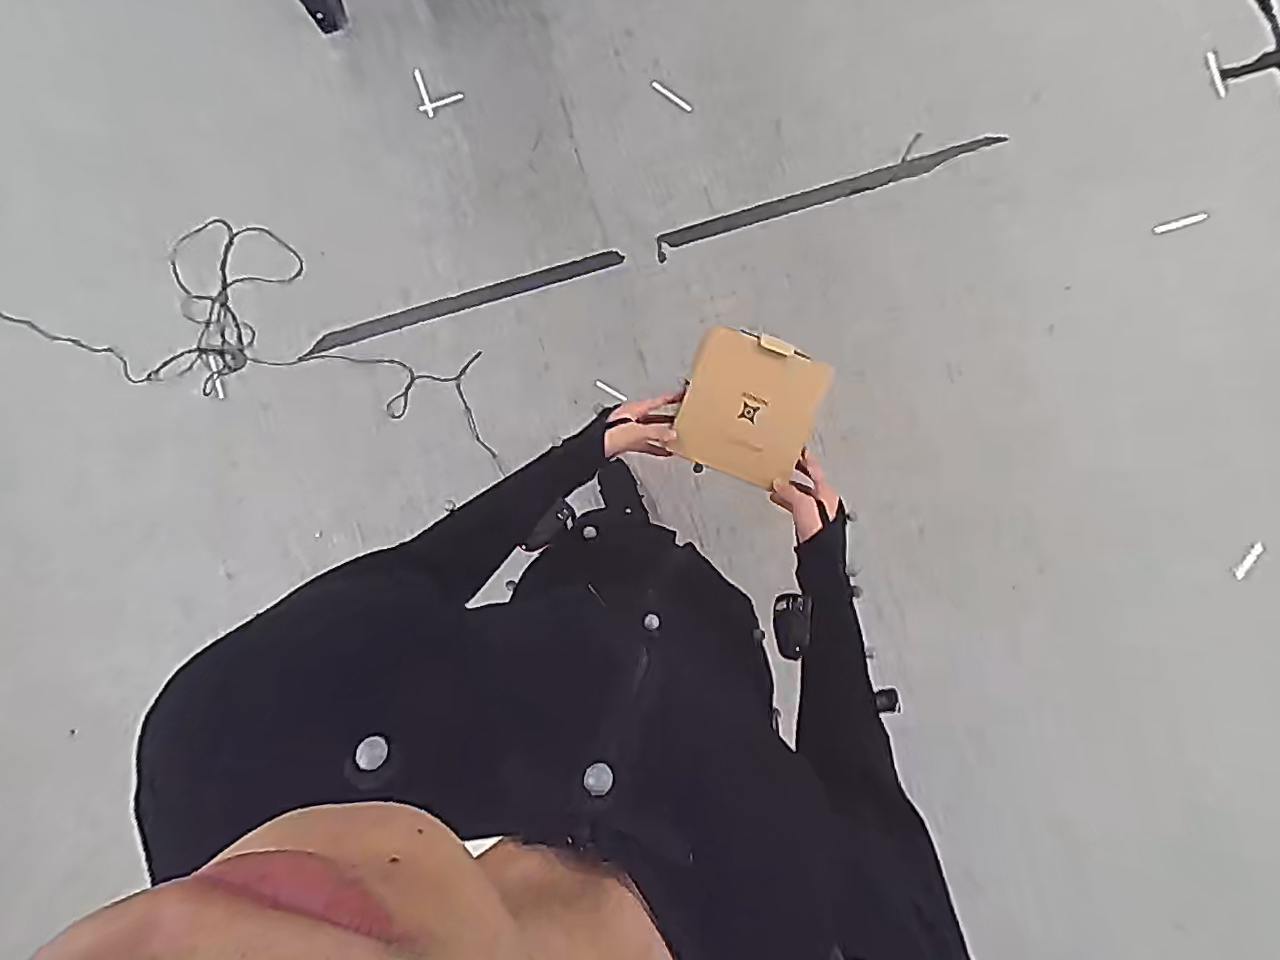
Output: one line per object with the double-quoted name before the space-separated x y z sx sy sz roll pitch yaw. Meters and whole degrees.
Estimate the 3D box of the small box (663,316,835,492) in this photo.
"small box" 0.135 -0.100 0.746 0.168 0.176 0.179 21 95 -2
